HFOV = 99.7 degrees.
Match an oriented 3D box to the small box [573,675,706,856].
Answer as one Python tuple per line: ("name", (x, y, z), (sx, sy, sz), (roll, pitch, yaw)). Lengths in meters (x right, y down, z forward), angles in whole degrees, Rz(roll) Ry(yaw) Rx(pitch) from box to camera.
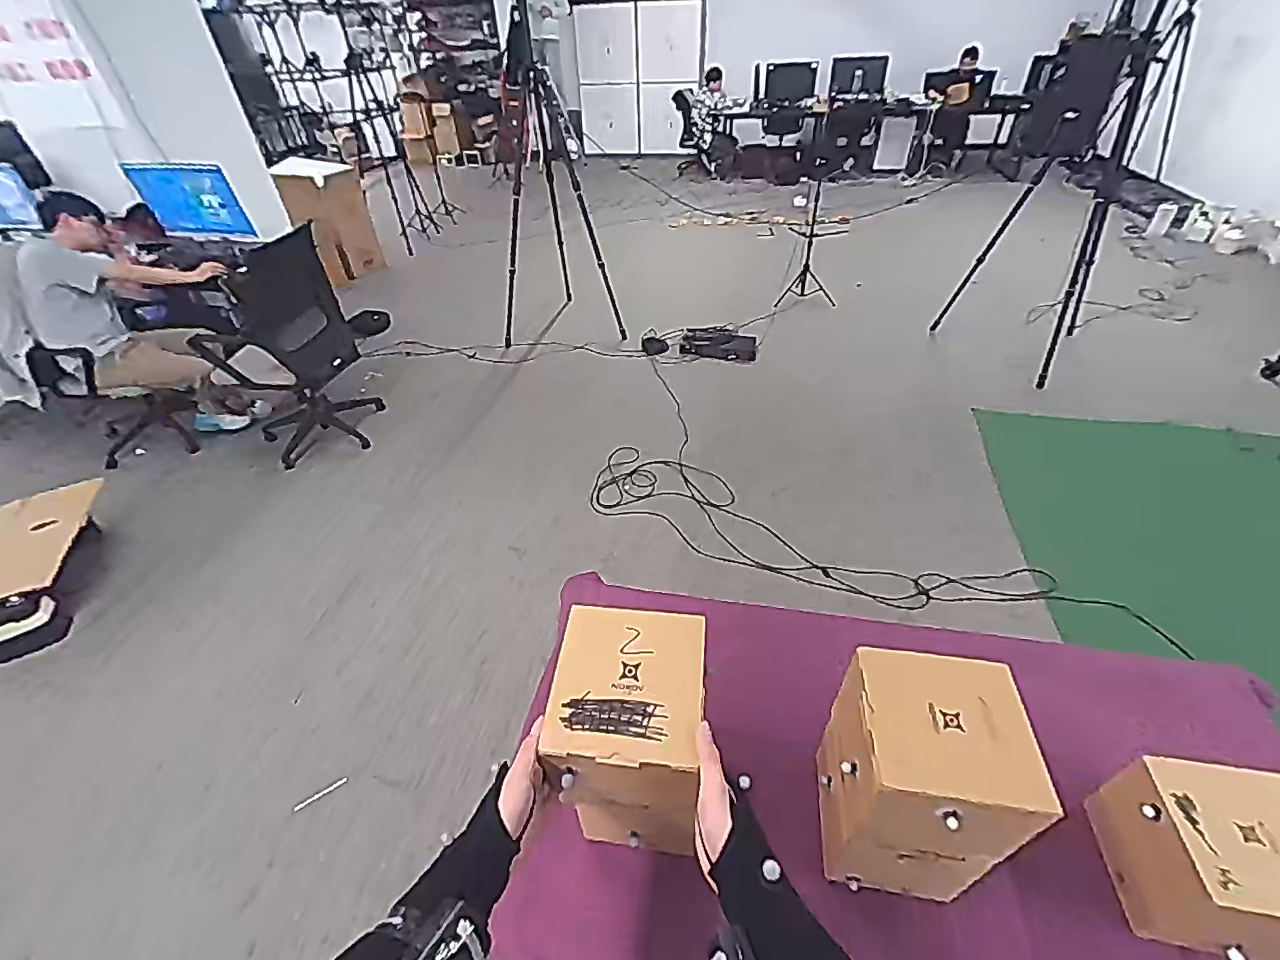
("small box", (0.006, 0.422, 0.805), (0.168, 0.176, 0.179), (4, 41, 8))

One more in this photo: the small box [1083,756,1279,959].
("small box", (0.732, 0.487, 0.693), (0.179, 0.176, 0.168), (6, 40, 10))

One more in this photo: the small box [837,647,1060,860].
("small box", (0.342, 0.328, 0.649), (0.179, 0.176, 0.168), (6, 42, 8))

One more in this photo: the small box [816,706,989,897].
("small box", (0.348, 0.450, 0.757), (0.168, 0.176, 0.179), (5, 40, 9))
